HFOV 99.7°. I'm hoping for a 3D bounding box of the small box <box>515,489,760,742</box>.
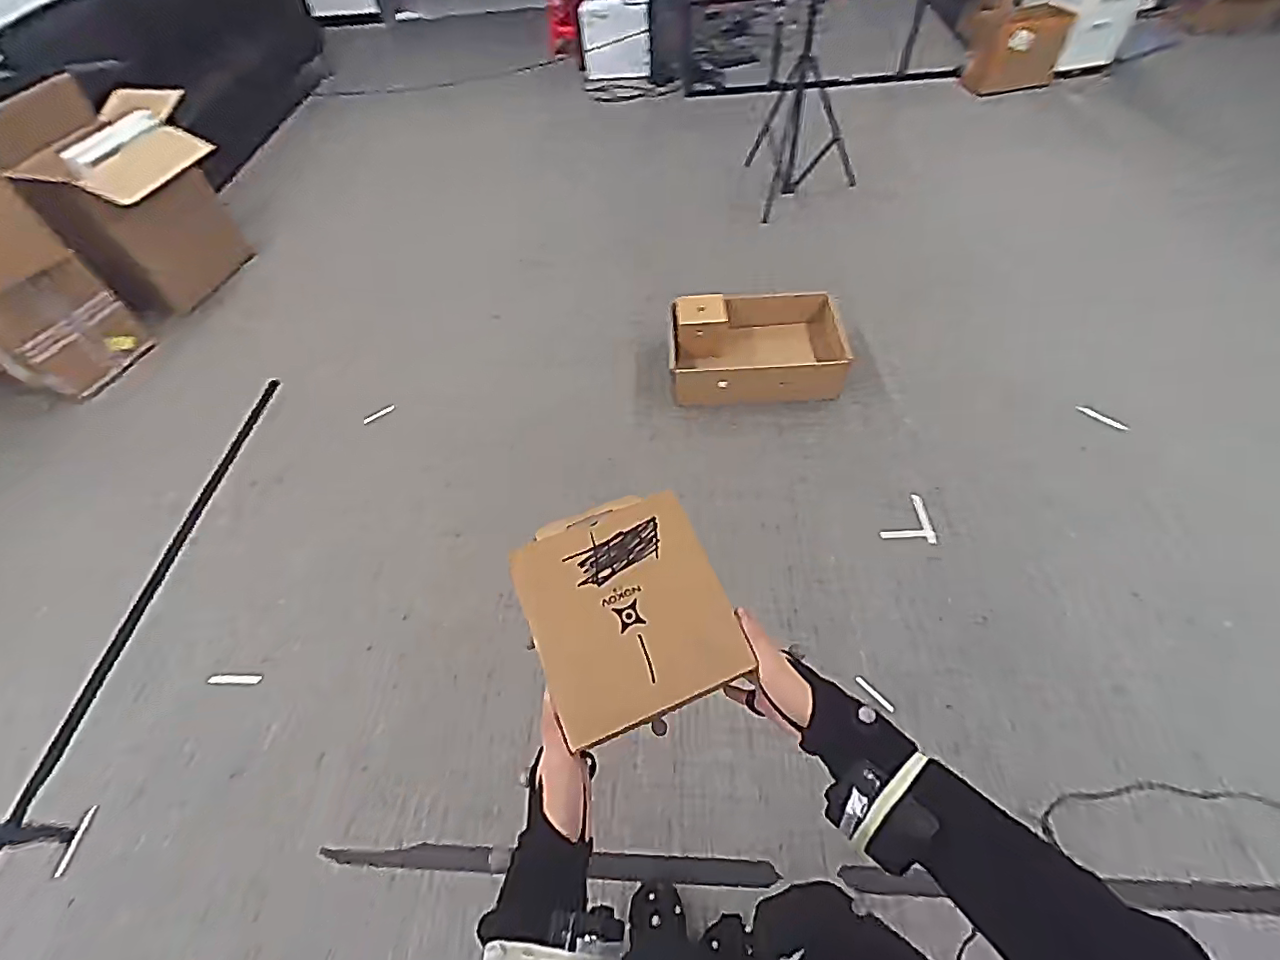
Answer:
[{"bbox_3d":[-0.009,0.140,0.531,0.168,0.176,0.179,-20,67,-10],"label":"small box"}]
